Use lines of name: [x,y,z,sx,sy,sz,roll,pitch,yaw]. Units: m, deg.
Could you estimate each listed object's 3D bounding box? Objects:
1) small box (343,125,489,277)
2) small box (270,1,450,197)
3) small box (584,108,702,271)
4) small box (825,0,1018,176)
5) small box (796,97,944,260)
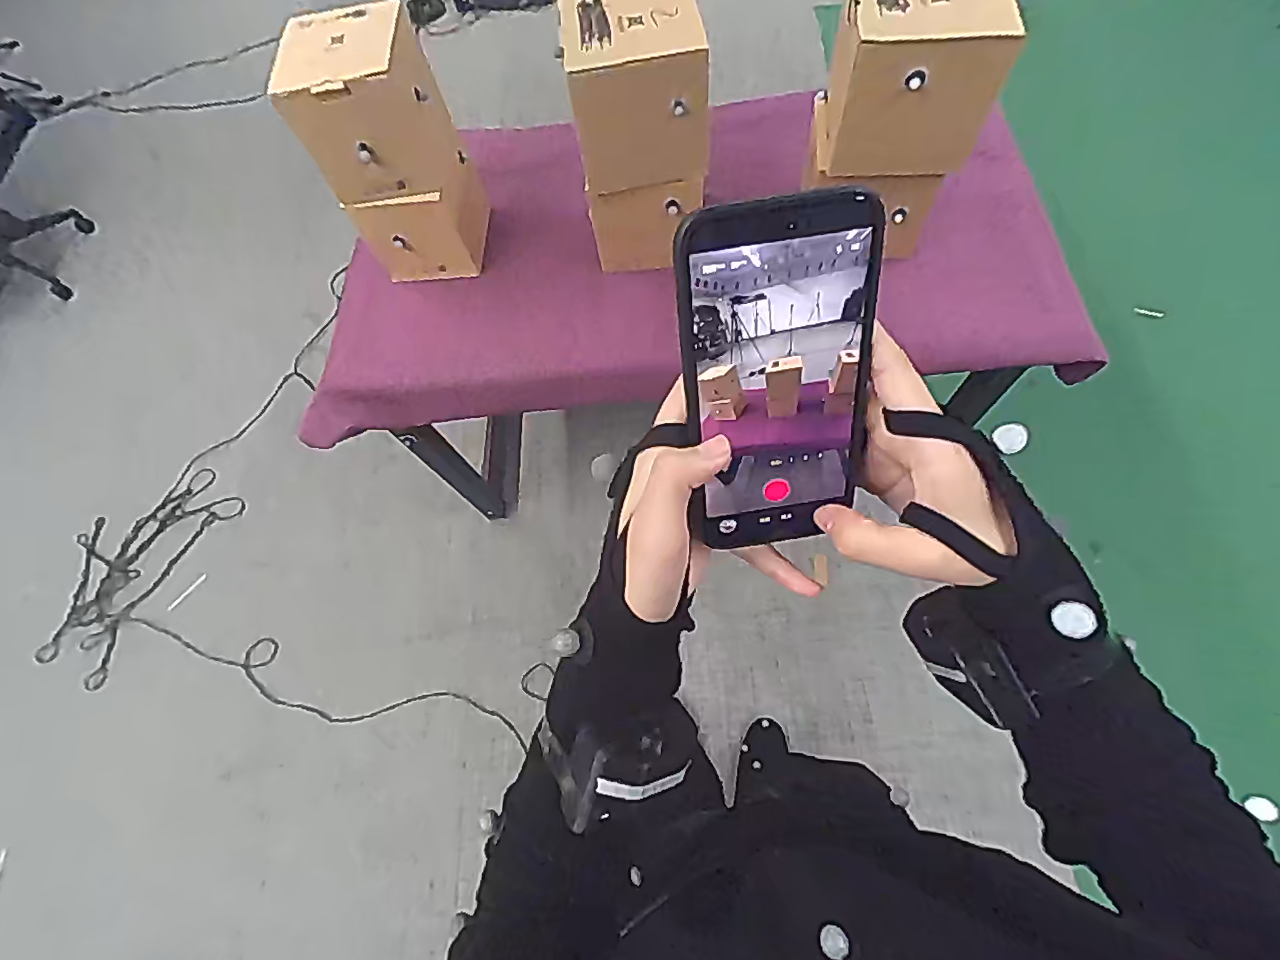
small box: [-0.376,-0.473,0.943,0.168,0.176,0.179,-2,67,6]
small box: [-0.394,-0.544,0.796,0.168,0.176,0.179,-6,67,3]
small box: [0.012,-0.470,0.893,0.179,0.176,0.168,-2,67,6]
small box: [0.341,-0.520,0.698,0.179,0.176,0.168,3,67,8]
small box: [0.350,-0.470,0.855,0.179,0.176,0.168,3,67,9]
